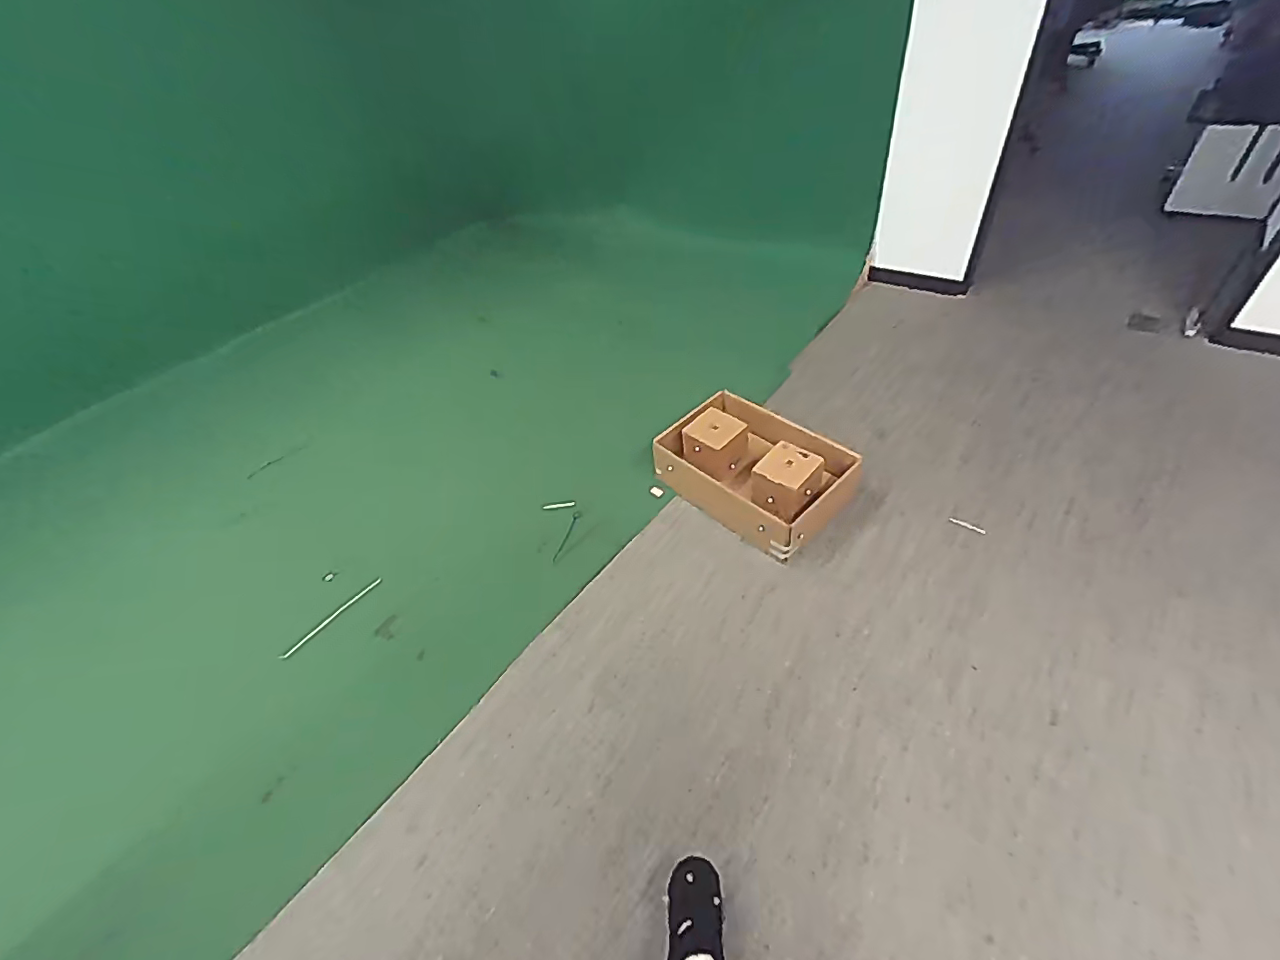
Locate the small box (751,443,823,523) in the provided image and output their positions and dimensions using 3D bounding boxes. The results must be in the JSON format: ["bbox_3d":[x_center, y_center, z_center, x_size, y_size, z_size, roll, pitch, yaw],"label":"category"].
[{"bbox_3d":[0.491,0.013,1.809,0.168,0.176,0.179,31,59,33],"label":"small box"}]
